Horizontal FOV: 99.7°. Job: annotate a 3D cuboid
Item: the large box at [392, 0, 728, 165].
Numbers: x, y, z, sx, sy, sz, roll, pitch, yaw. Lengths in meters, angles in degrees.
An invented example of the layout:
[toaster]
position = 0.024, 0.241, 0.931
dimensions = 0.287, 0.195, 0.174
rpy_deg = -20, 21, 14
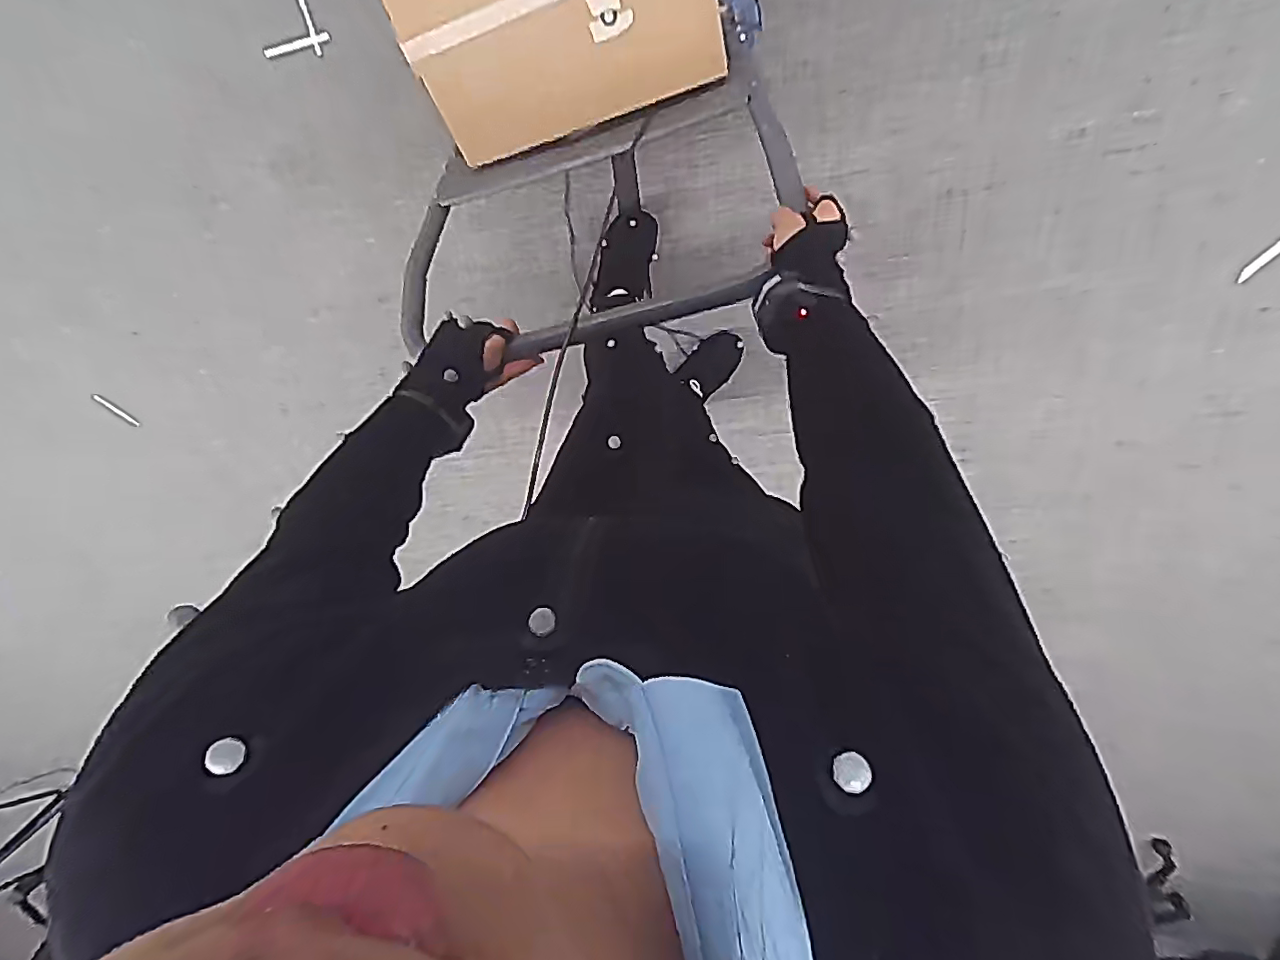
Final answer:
[large box]
position = -0.115, -0.732, 0.777
dimensions = 0.408, 0.320, 0.320
rpy_deg = -12, 139, 13
